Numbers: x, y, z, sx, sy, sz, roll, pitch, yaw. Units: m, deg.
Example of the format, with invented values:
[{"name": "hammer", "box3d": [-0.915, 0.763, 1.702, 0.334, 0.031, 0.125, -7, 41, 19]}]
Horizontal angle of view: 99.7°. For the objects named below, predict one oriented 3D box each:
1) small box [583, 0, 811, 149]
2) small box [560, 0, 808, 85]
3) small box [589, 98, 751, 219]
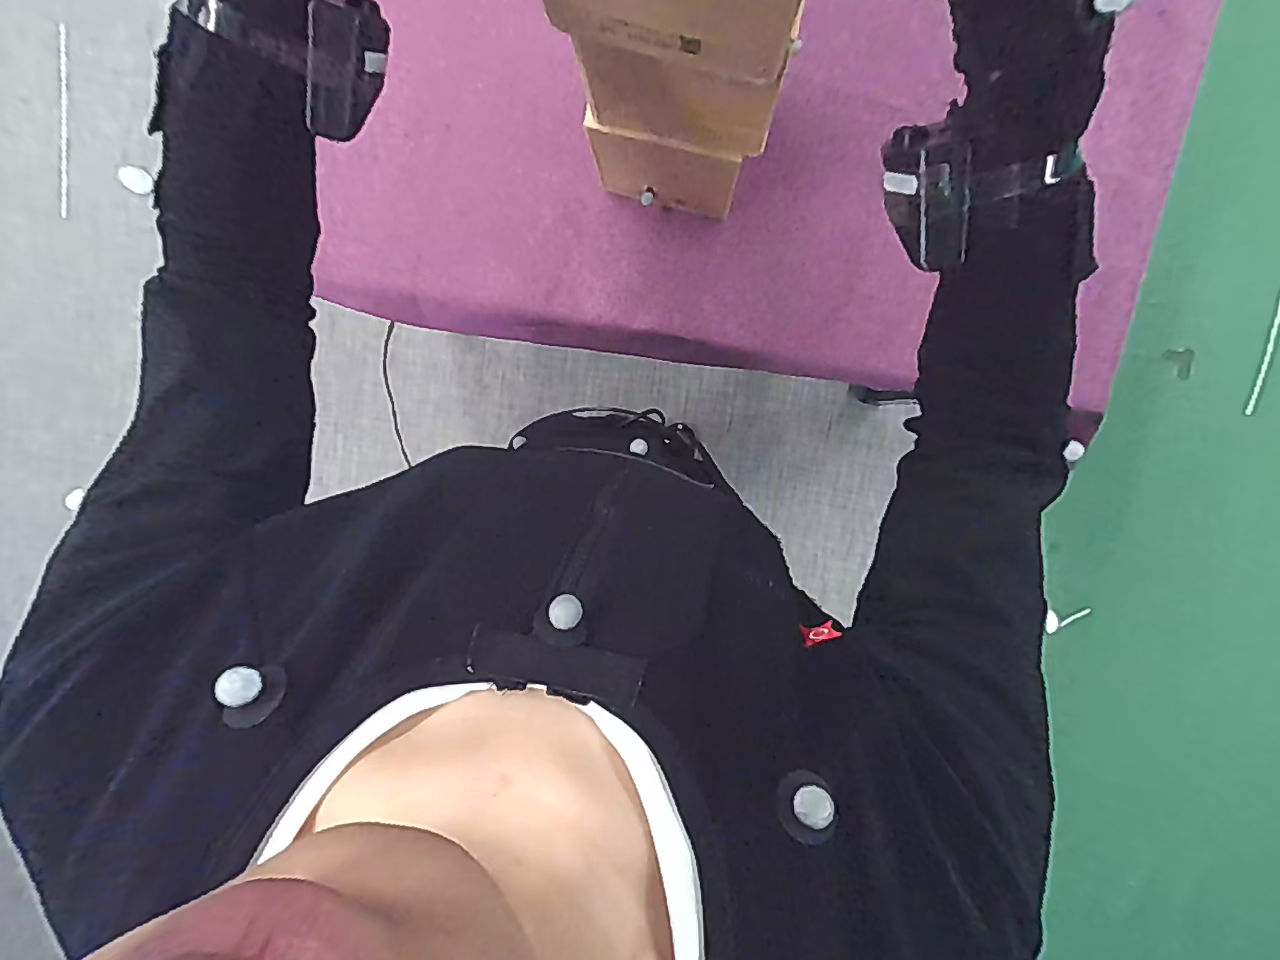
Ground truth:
[{"name": "small box", "box3d": [0.050, -0.406, 0.443, 0.179, 0.176, 0.168, 13, 97, 2]}, {"name": "small box", "box3d": [0.037, -0.365, 0.285, 0.168, 0.176, 0.179, 16, 97, 2]}, {"name": "small box", "box3d": [0.052, -0.425, 0.604, 0.168, 0.176, 0.179, 14, 98, 2]}]
